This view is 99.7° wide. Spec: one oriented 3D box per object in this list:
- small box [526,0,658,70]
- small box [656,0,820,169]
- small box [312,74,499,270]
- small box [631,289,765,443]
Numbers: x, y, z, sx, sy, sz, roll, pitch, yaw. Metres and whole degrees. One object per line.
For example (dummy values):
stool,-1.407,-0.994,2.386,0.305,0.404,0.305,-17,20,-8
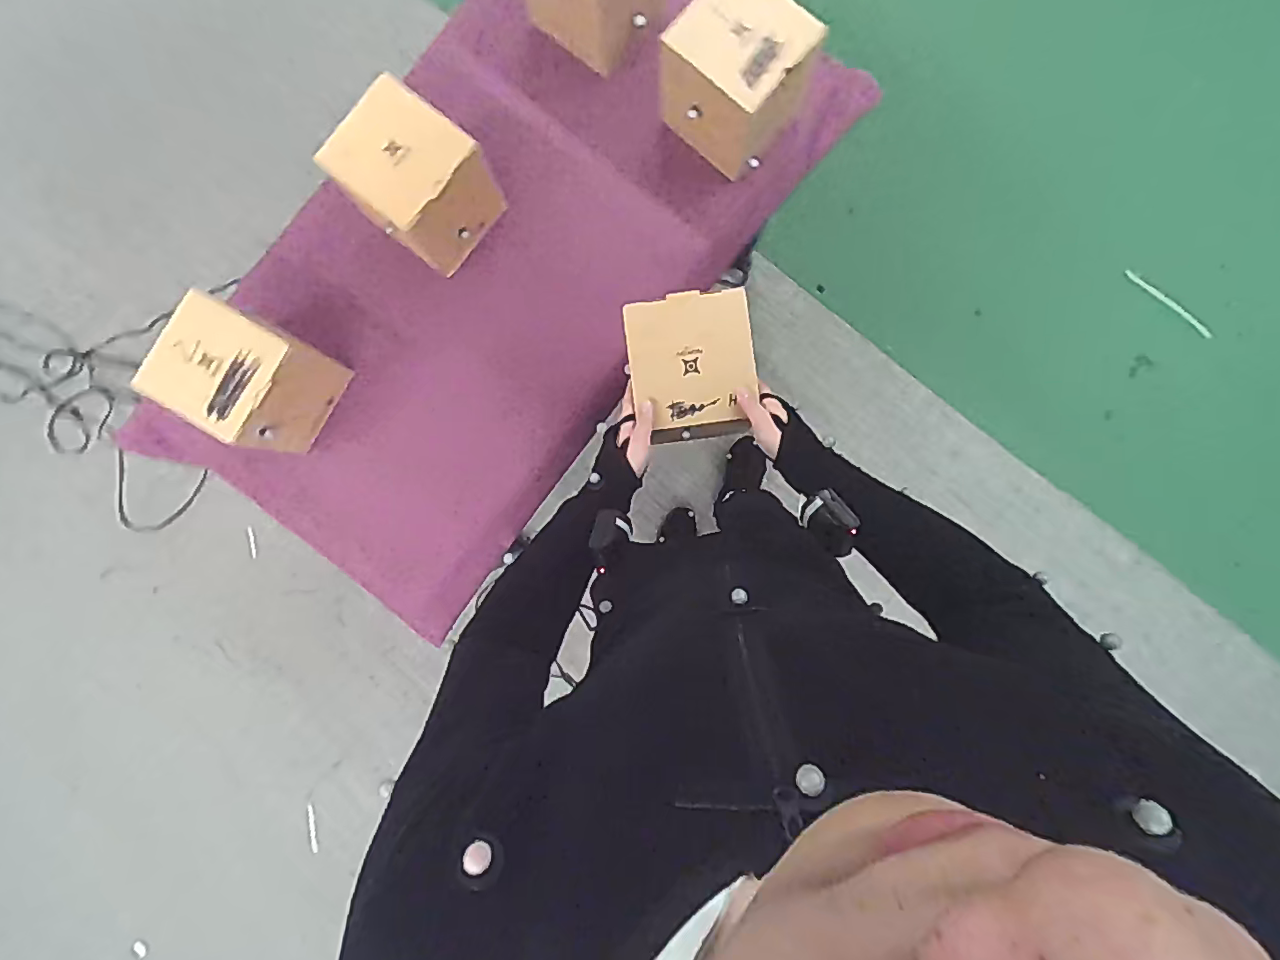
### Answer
small box,-0.083,-0.814,0.856,0.179,0.176,0.168,39,90,1
small box,0.143,-0.630,0.847,0.179,0.176,0.168,42,90,4
small box,-0.355,-0.468,0.853,0.179,0.176,0.168,38,89,1
small box,0.081,-0.155,0.790,0.168,0.176,0.179,-6,89,5
